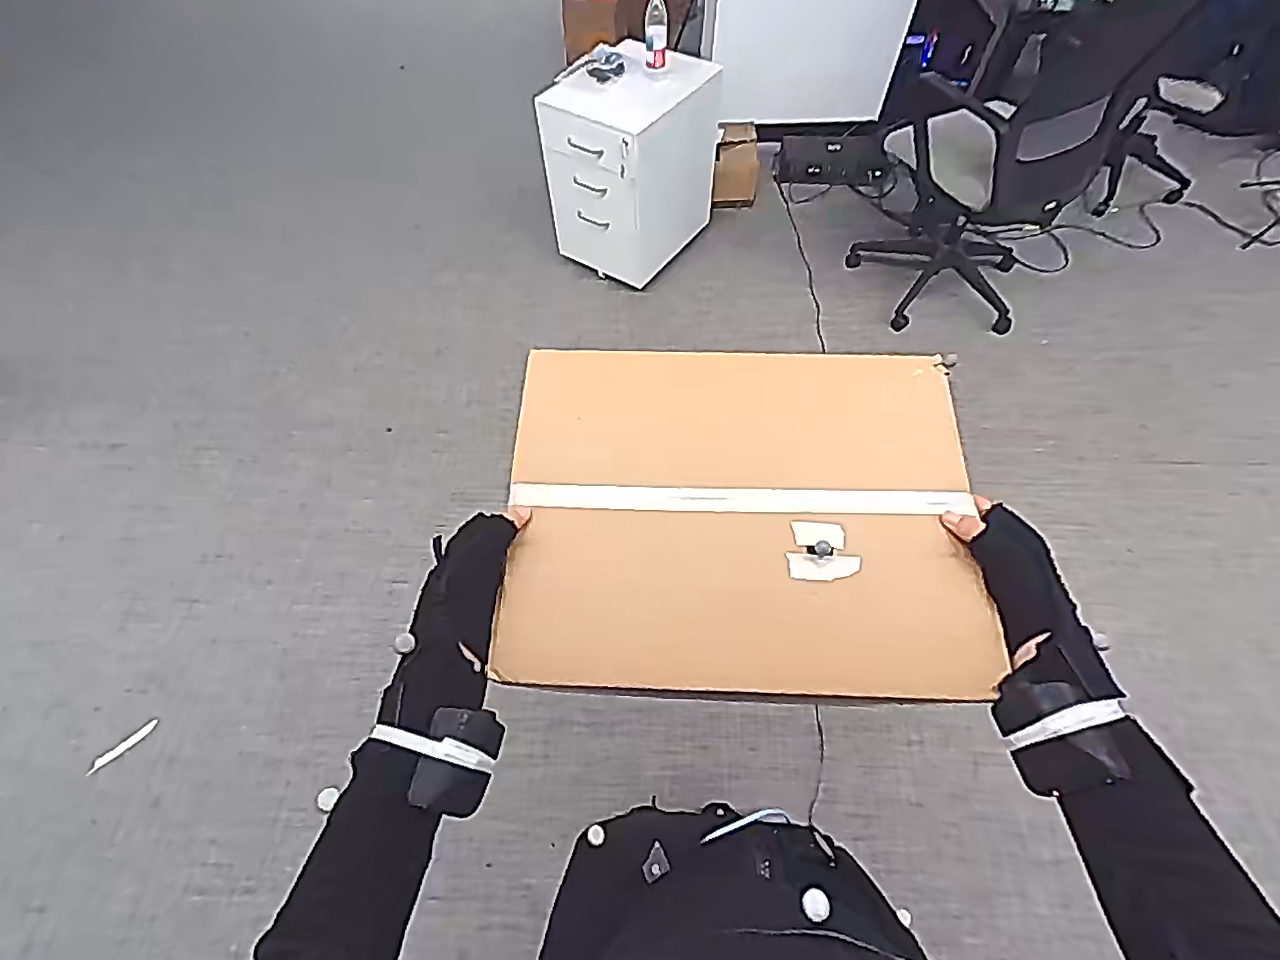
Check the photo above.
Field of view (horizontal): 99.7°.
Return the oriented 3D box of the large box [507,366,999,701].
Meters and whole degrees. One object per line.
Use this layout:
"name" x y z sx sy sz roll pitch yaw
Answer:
"large box" 0.094 0.084 0.626 0.408 0.320 0.320 1 68 2
